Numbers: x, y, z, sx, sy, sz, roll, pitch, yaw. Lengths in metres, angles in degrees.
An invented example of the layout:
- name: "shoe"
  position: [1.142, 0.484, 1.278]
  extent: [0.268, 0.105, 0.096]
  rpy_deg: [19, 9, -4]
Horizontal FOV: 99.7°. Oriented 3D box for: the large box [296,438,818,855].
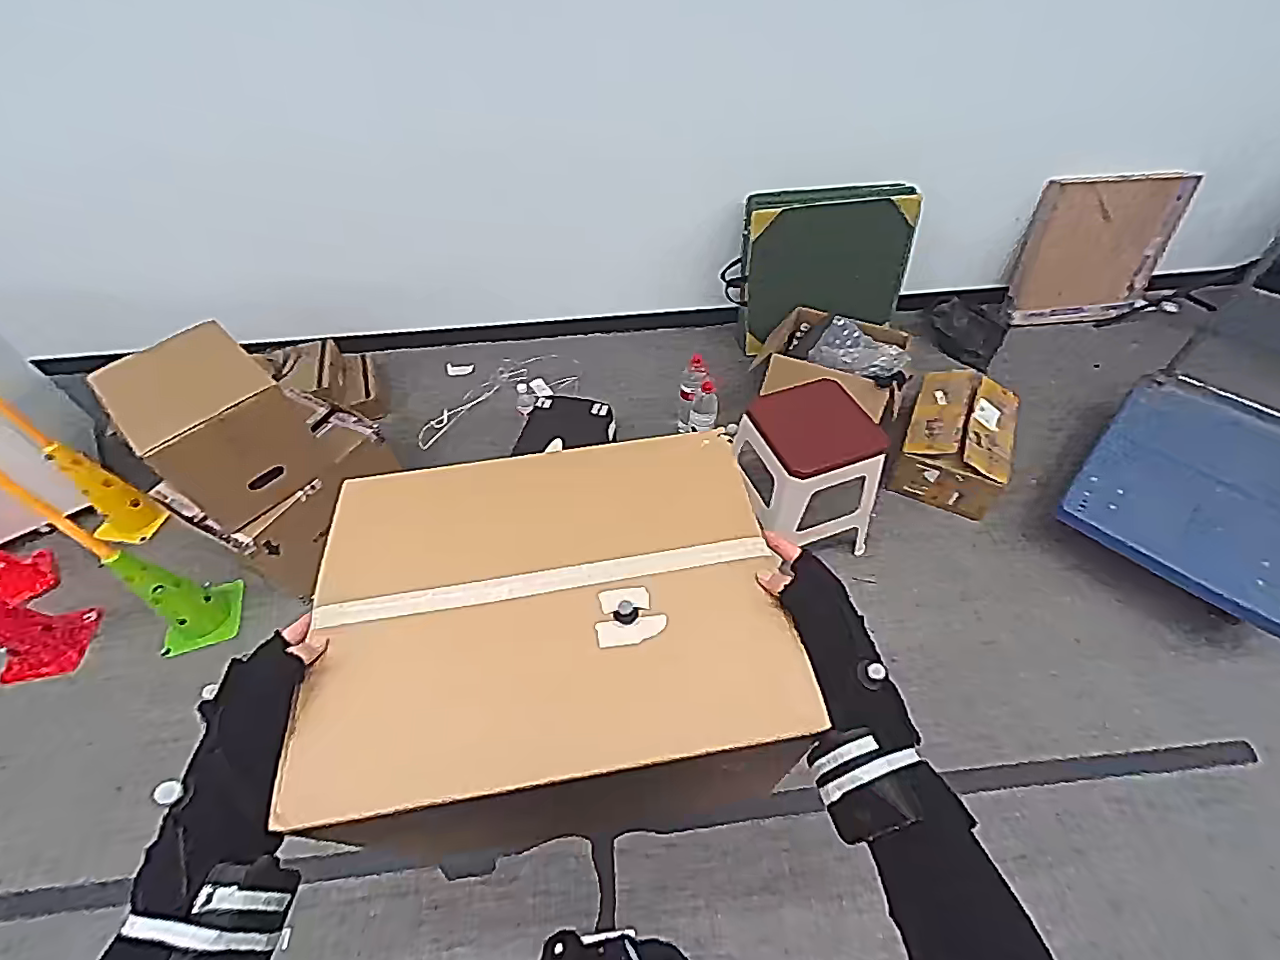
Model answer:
- name: "large box"
  position: [-0.075, 0.190, 0.611]
  extent: [0.408, 0.320, 0.320]
  rpy_deg: [-8, 52, -4]
